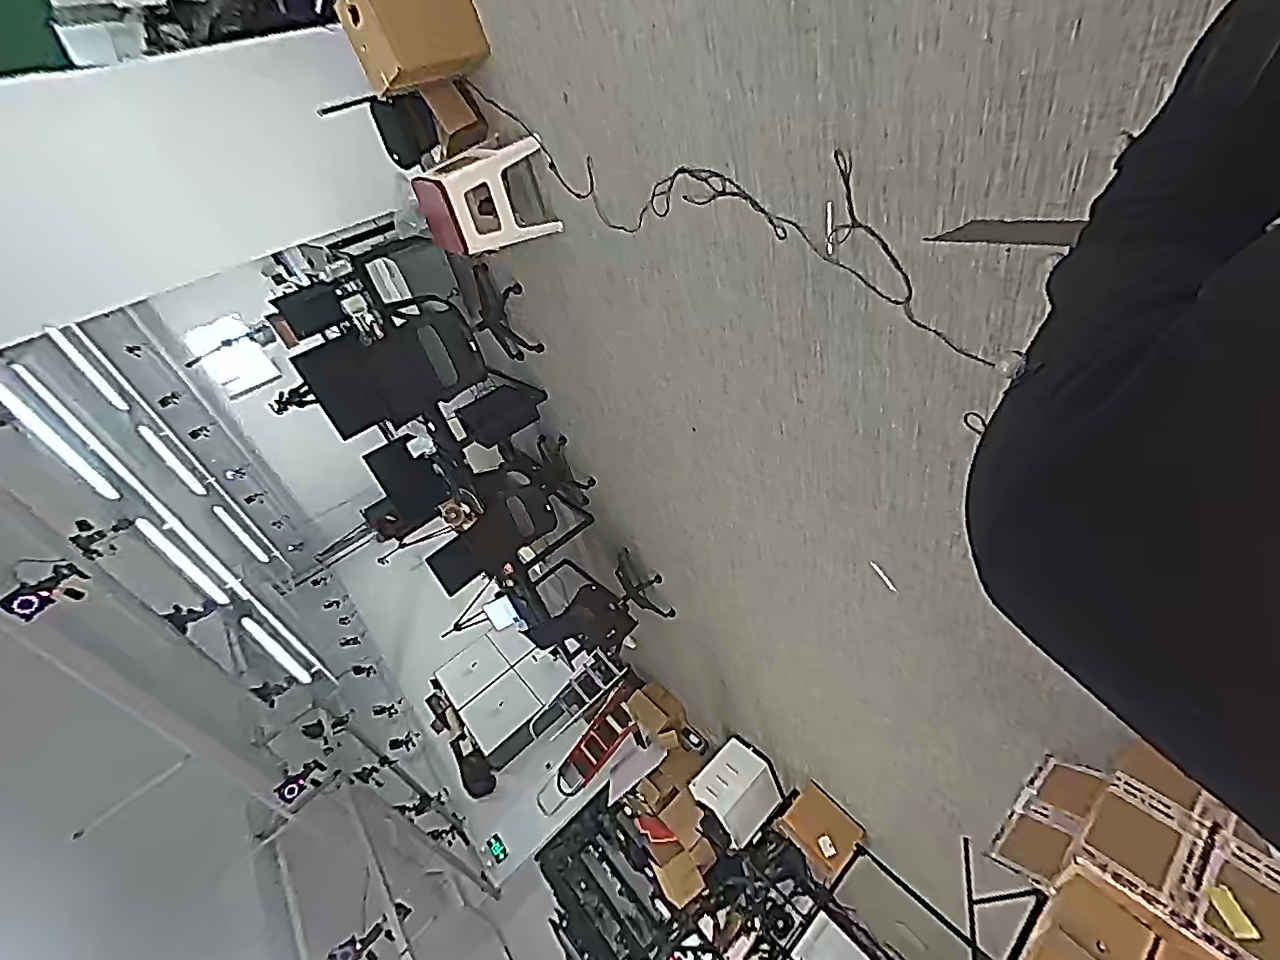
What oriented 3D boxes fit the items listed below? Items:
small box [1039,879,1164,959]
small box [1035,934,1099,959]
[{"bbox_3d":[1.190,1.190,1.397,0.179,0.176,0.168,35,148,41],"label":"small box"},{"bbox_3d":[1.062,1.256,1.313,0.179,0.176,0.168,32,147,43],"label":"small box"}]
